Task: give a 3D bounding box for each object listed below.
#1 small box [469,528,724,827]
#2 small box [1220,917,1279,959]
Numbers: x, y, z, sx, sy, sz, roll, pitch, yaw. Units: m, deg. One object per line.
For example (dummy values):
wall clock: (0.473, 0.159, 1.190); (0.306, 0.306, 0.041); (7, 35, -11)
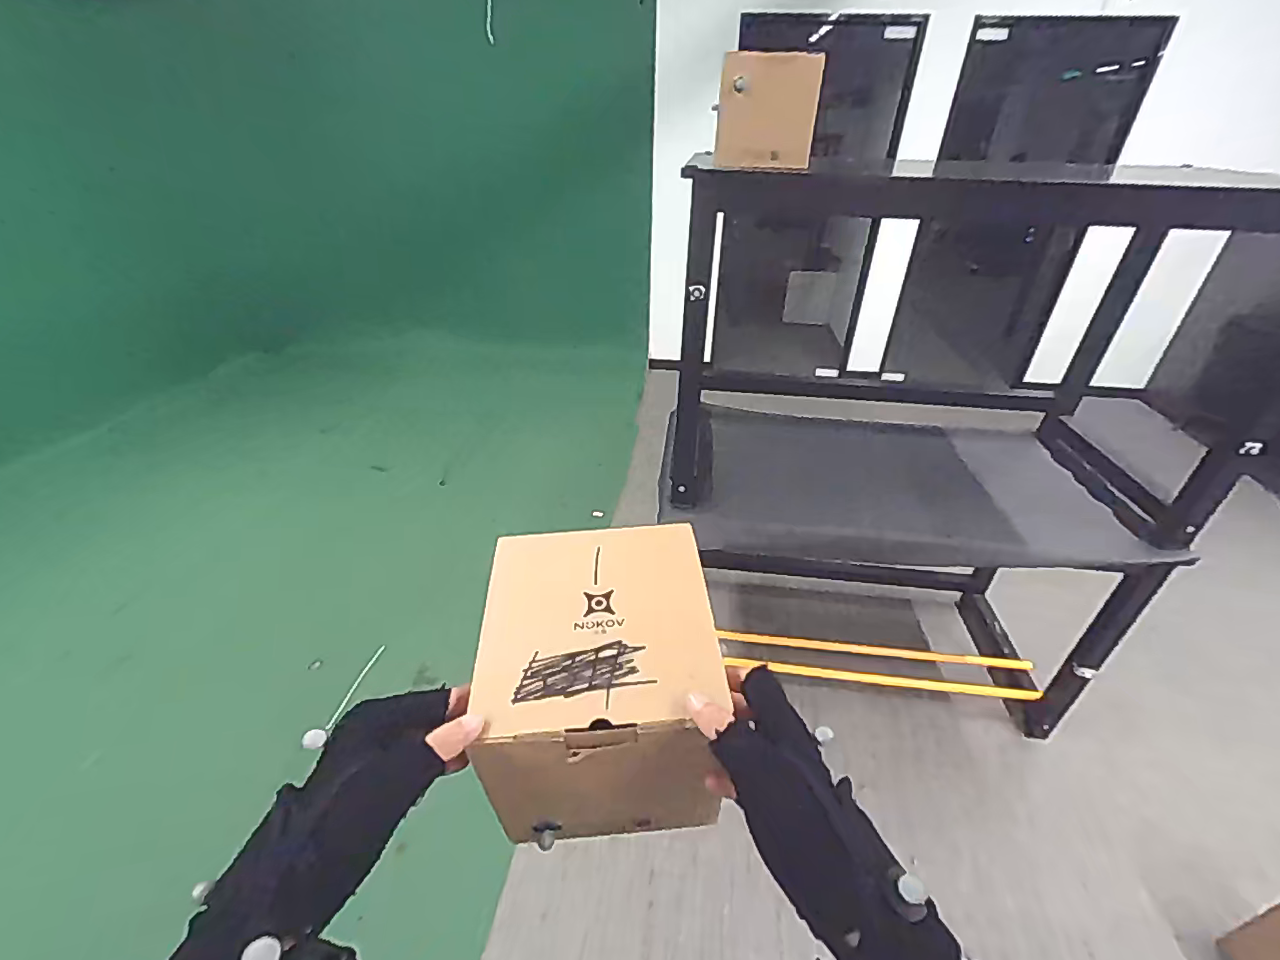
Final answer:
small box: (-0.028, 0.164, 0.450); (0.168, 0.176, 0.179); (-4, 38, -3)
small box: (1.366, 1.035, 1.094); (0.179, 0.176, 0.168); (8, 33, 11)
